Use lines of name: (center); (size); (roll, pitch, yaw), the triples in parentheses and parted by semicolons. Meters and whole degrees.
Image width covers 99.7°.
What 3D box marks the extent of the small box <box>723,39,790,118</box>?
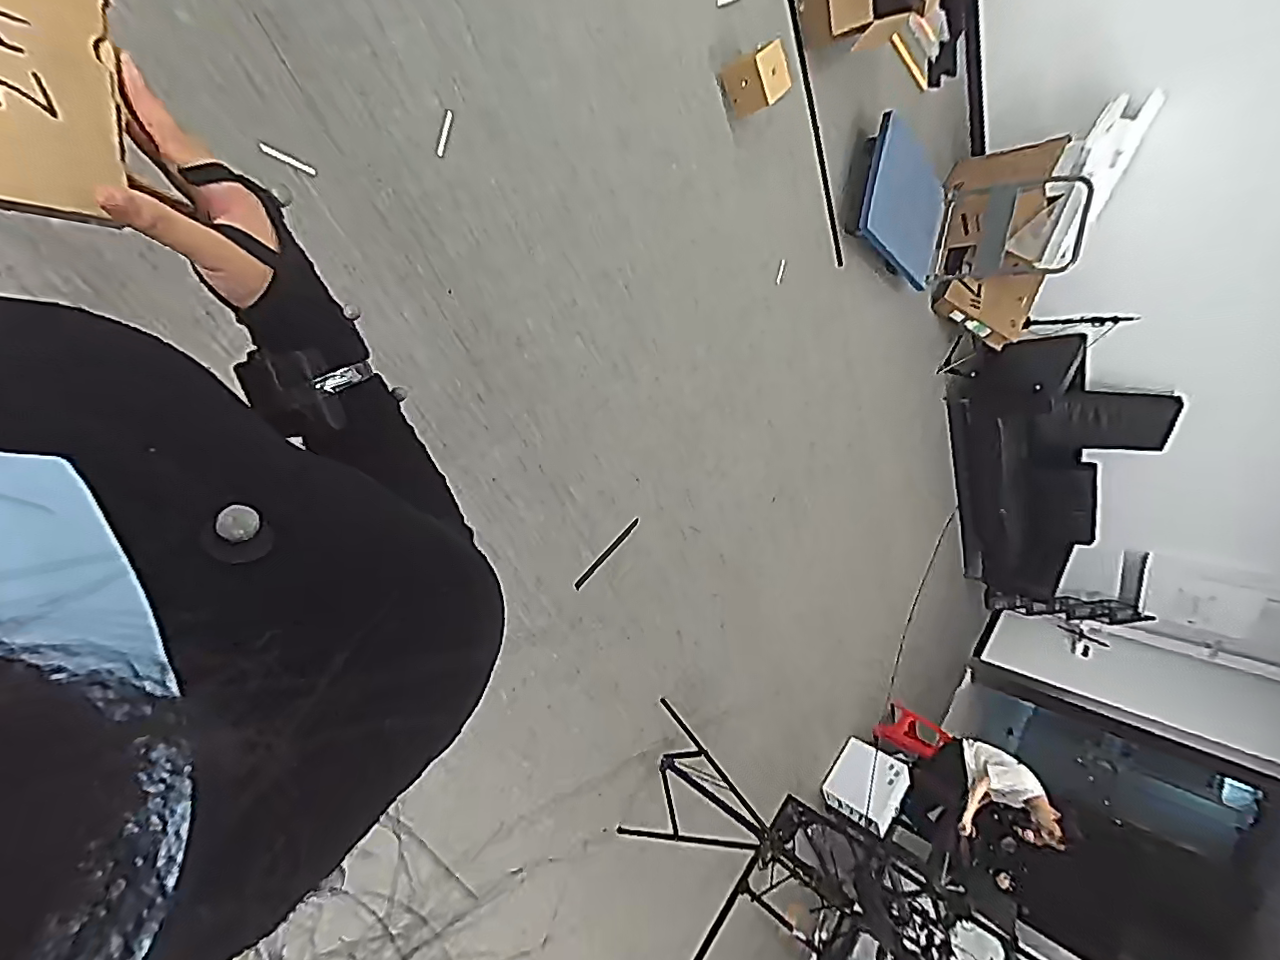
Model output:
small box: (0.439, -1.526, 2.065); (0.179, 0.176, 0.168); (-51, 129, -23)

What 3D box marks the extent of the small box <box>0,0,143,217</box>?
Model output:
small box: (-0.388, -0.244, 0.284); (0.179, 0.176, 0.168); (-7, 113, -44)
